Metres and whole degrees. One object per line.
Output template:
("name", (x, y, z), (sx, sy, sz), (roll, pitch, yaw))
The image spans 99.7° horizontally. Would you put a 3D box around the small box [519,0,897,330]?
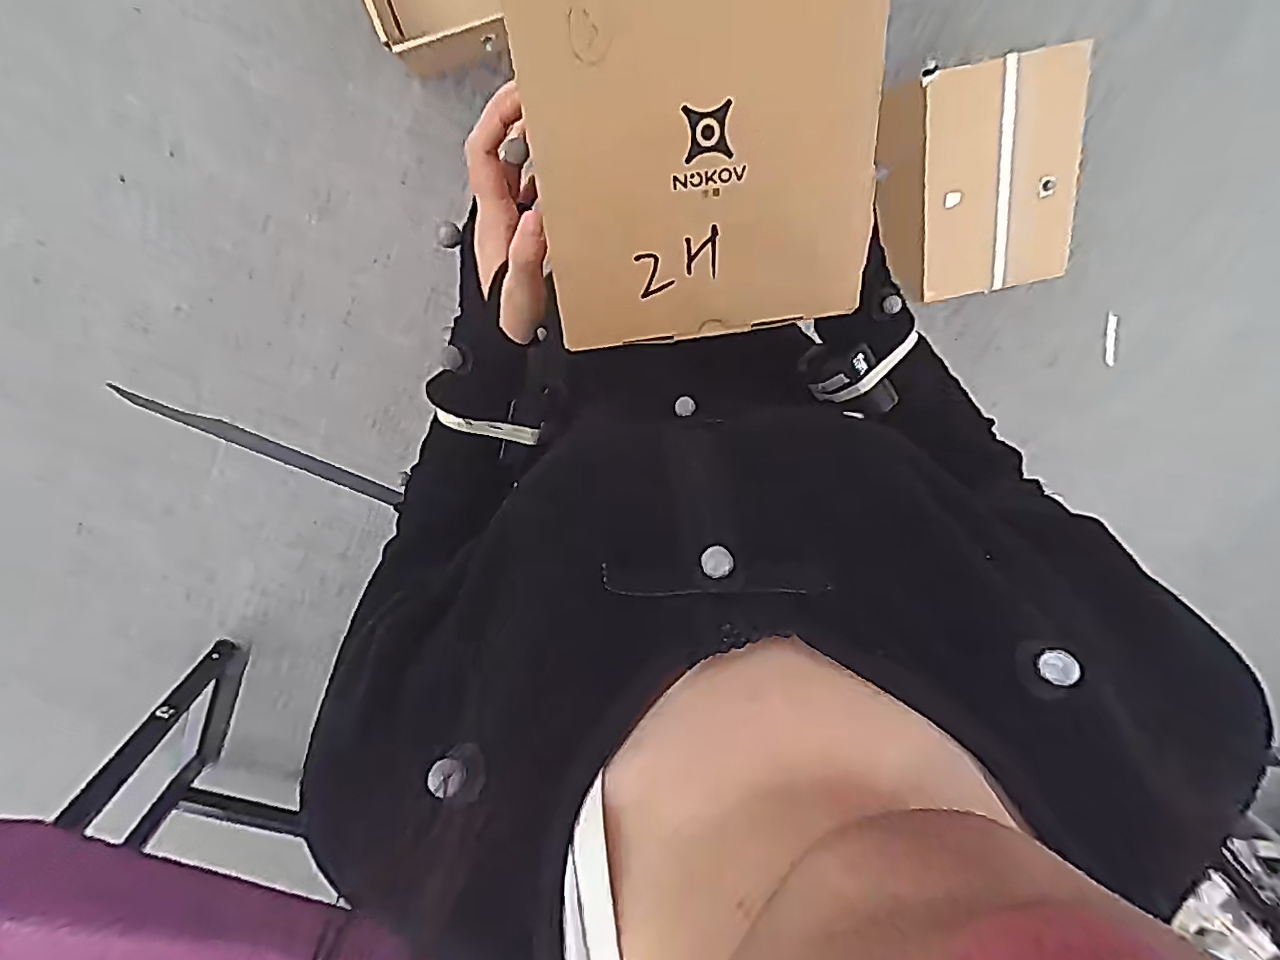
("small box", (0.027, -0.206, 0.320), (0.168, 0.176, 0.179), (-8, 123, -1))
